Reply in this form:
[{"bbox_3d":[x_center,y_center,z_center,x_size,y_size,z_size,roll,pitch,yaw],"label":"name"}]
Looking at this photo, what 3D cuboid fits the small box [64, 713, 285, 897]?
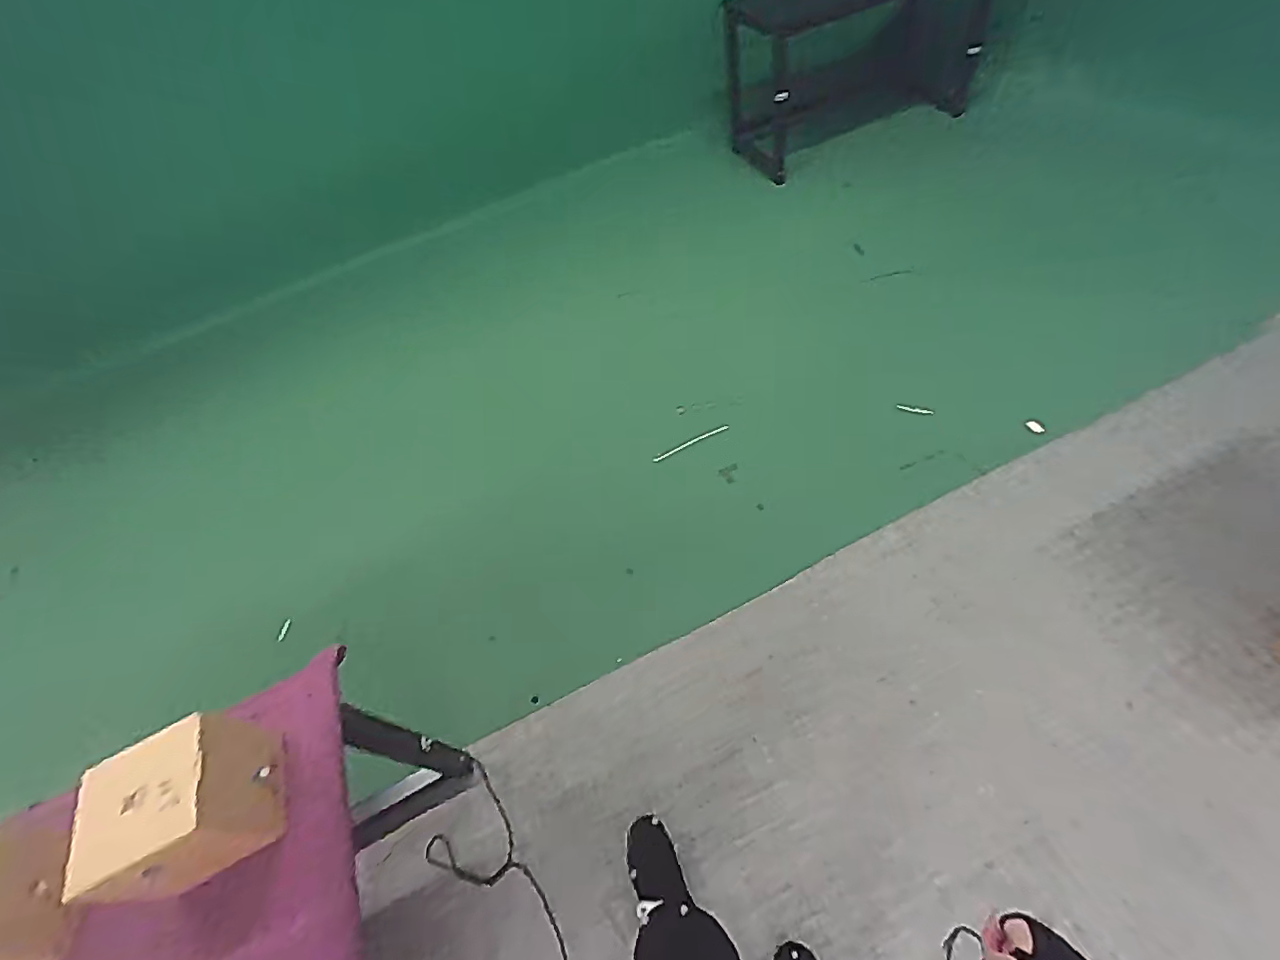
[{"bbox_3d":[-0.668,0.480,0.800,0.179,0.176,0.168,-27,55,-7],"label":"small box"}]
